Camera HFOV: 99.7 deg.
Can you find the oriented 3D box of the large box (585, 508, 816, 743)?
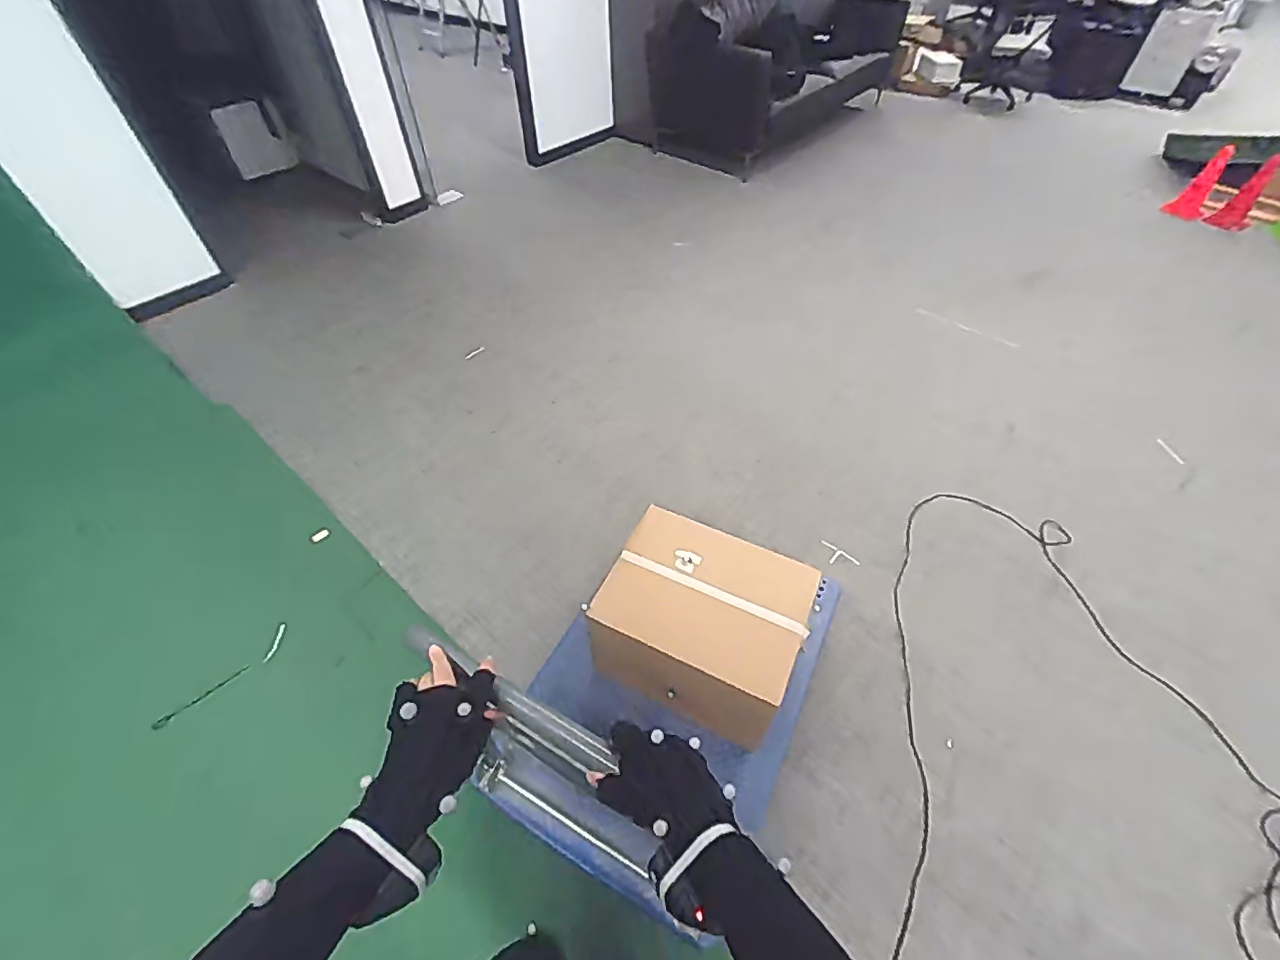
[{"bbox_3d":[0.135,0.327,1.226,0.408,0.320,0.320,20,52,17],"label":"large box"}]
